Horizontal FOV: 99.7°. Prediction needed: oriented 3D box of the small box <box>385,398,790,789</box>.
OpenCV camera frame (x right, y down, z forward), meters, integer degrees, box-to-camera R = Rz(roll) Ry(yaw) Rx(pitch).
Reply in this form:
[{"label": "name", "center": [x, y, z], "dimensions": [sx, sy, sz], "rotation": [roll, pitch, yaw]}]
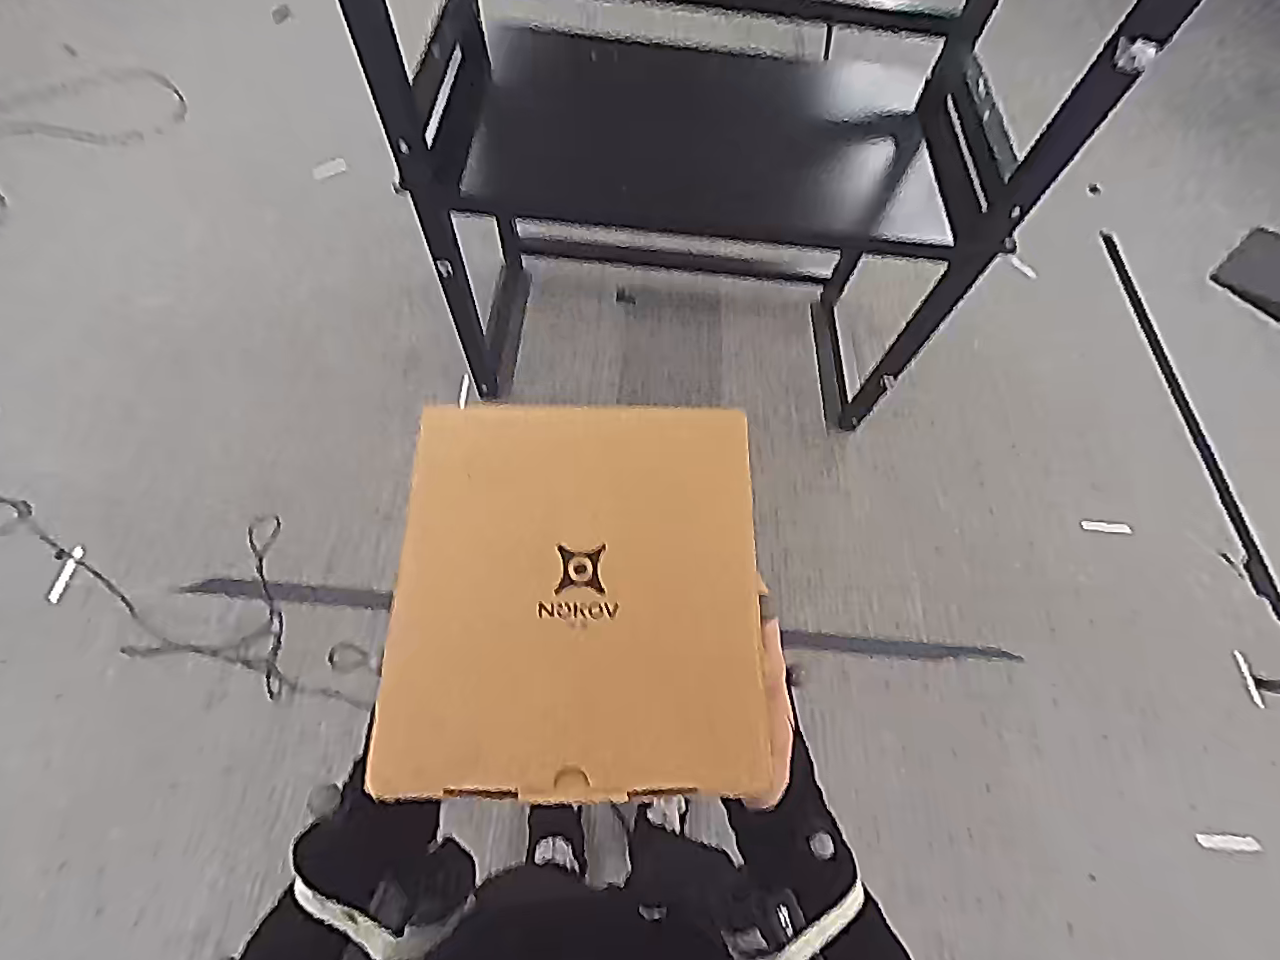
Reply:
[{"label": "small box", "center": [-0.023, 0.069, 0.319], "dimensions": [0.168, 0.176, 0.179], "rotation": [0, 71, -2]}]
